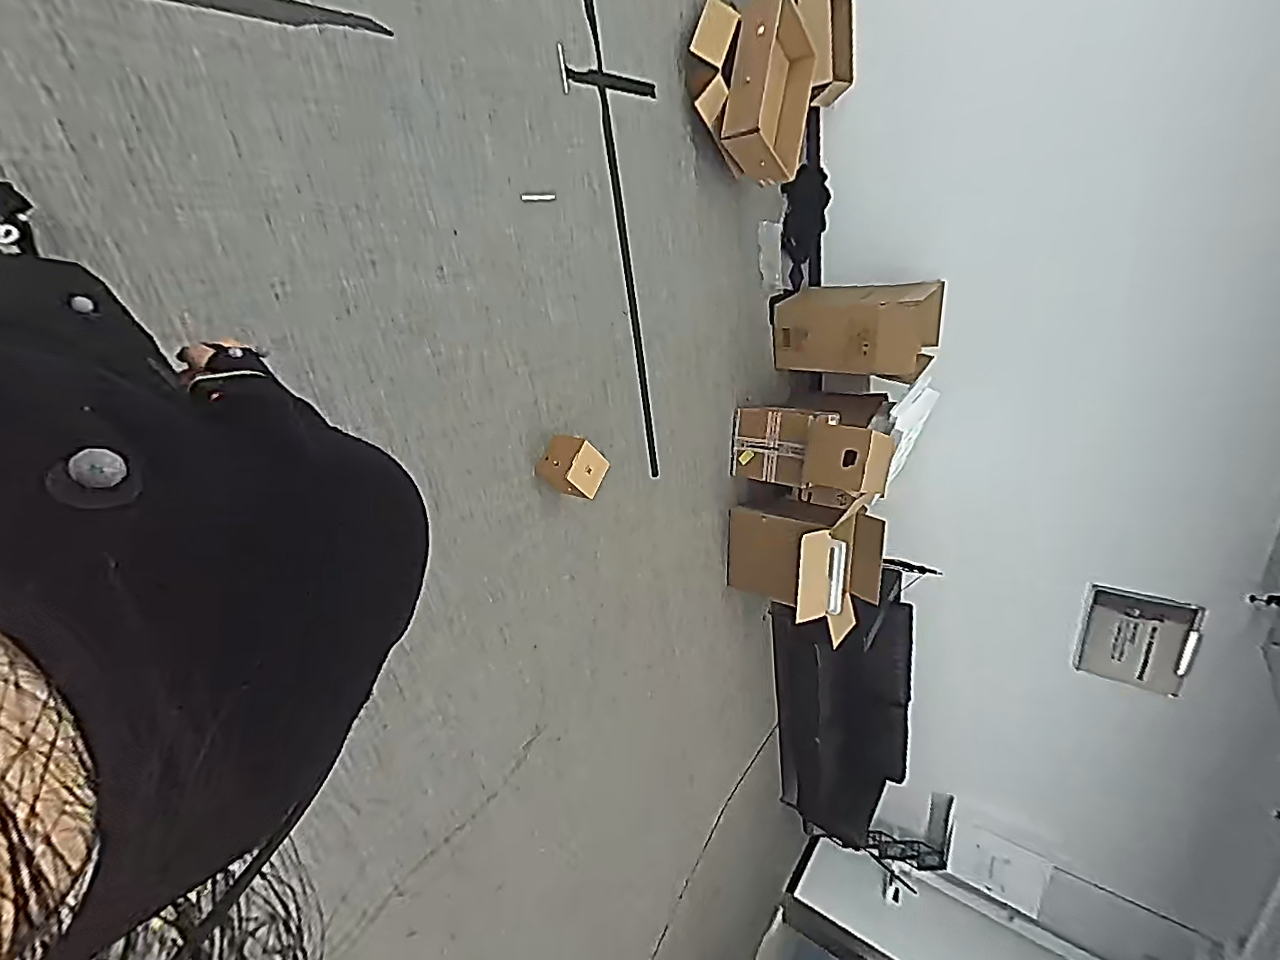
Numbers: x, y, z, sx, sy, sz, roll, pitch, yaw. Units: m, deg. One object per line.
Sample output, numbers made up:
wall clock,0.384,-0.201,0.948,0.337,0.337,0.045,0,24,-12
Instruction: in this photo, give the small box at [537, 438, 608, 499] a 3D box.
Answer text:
small box,-0.258,-0.048,2.044,0.179,0.176,0.168,46,63,-48
